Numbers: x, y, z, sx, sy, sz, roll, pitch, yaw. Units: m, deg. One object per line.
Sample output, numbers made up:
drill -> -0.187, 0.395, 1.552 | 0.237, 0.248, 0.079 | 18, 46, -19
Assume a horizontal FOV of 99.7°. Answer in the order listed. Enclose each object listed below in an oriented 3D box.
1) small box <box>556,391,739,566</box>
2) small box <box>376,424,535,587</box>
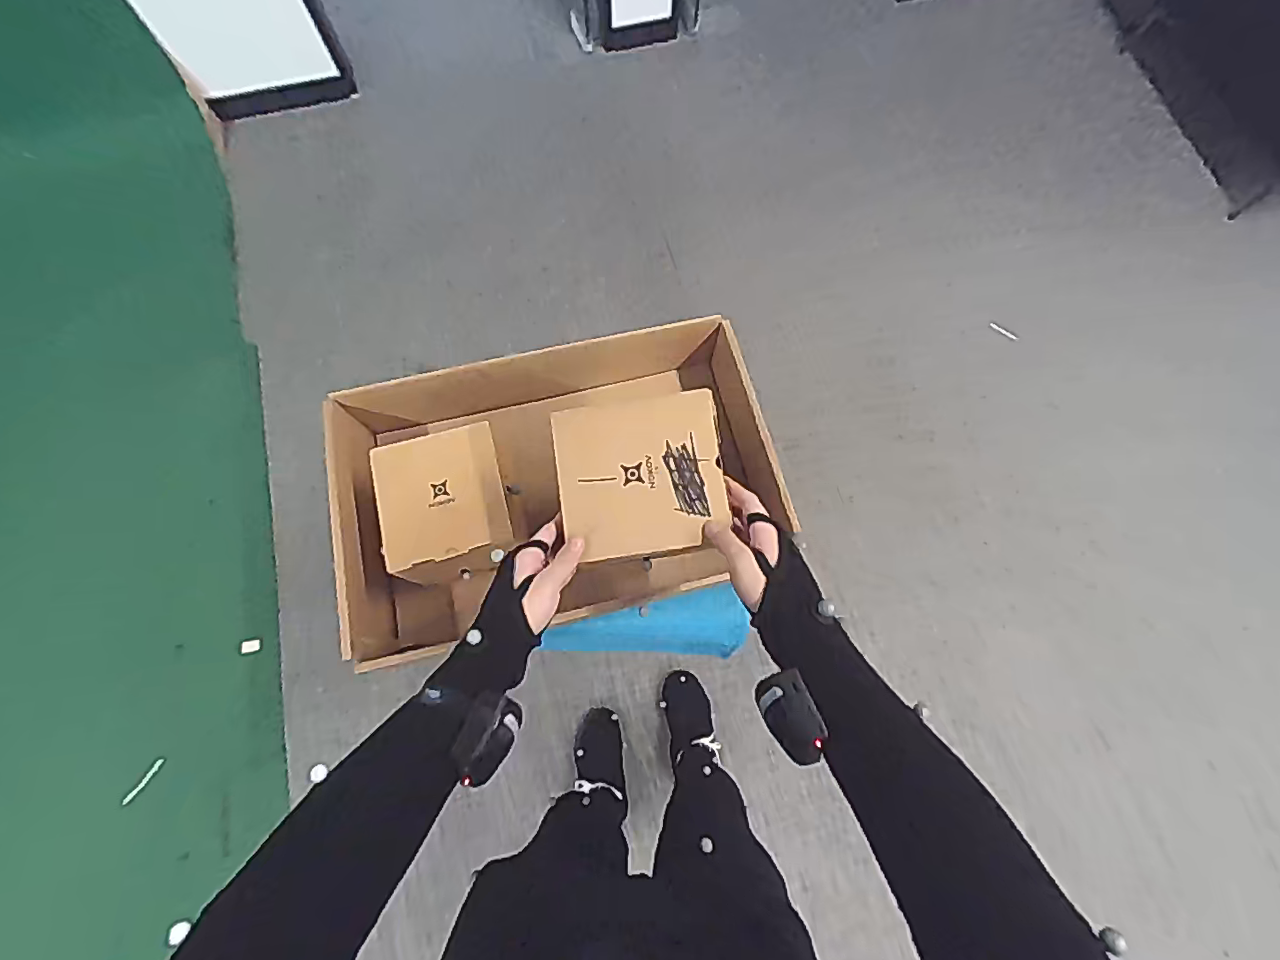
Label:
small box -> 0.007, 0.008, 0.644 | 0.179, 0.176, 0.168 | -9, 79, 0
small box -> -0.261, 0.044, 0.792 | 0.168, 0.176, 0.179 | -15, 74, -6
